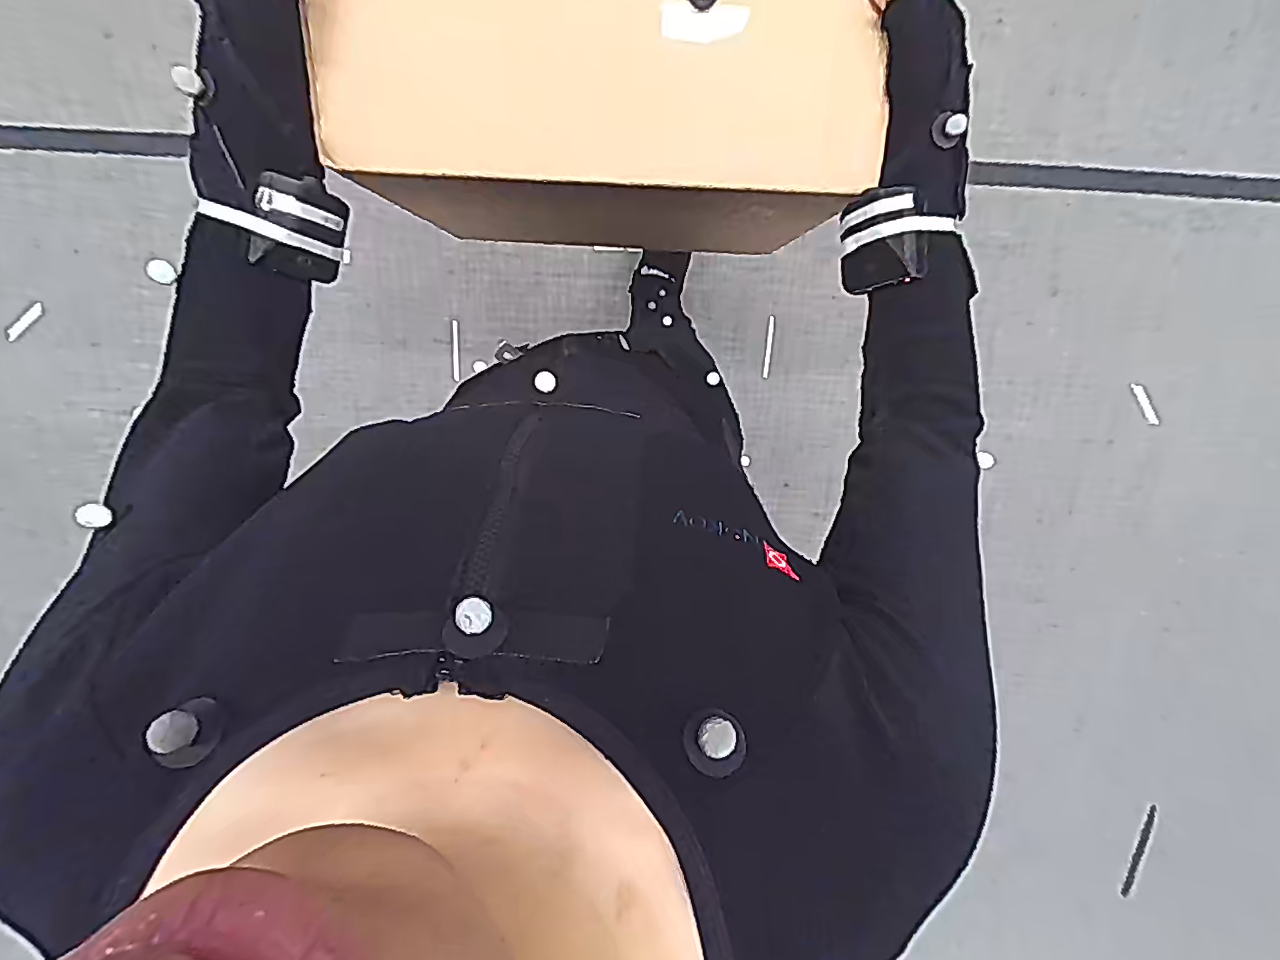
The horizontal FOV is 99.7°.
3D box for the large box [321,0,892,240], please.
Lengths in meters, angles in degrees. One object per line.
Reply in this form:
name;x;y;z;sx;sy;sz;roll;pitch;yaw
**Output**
large box;-0.024;-0.420;0.505;0.408;0.320;0.320;2;105;-2
